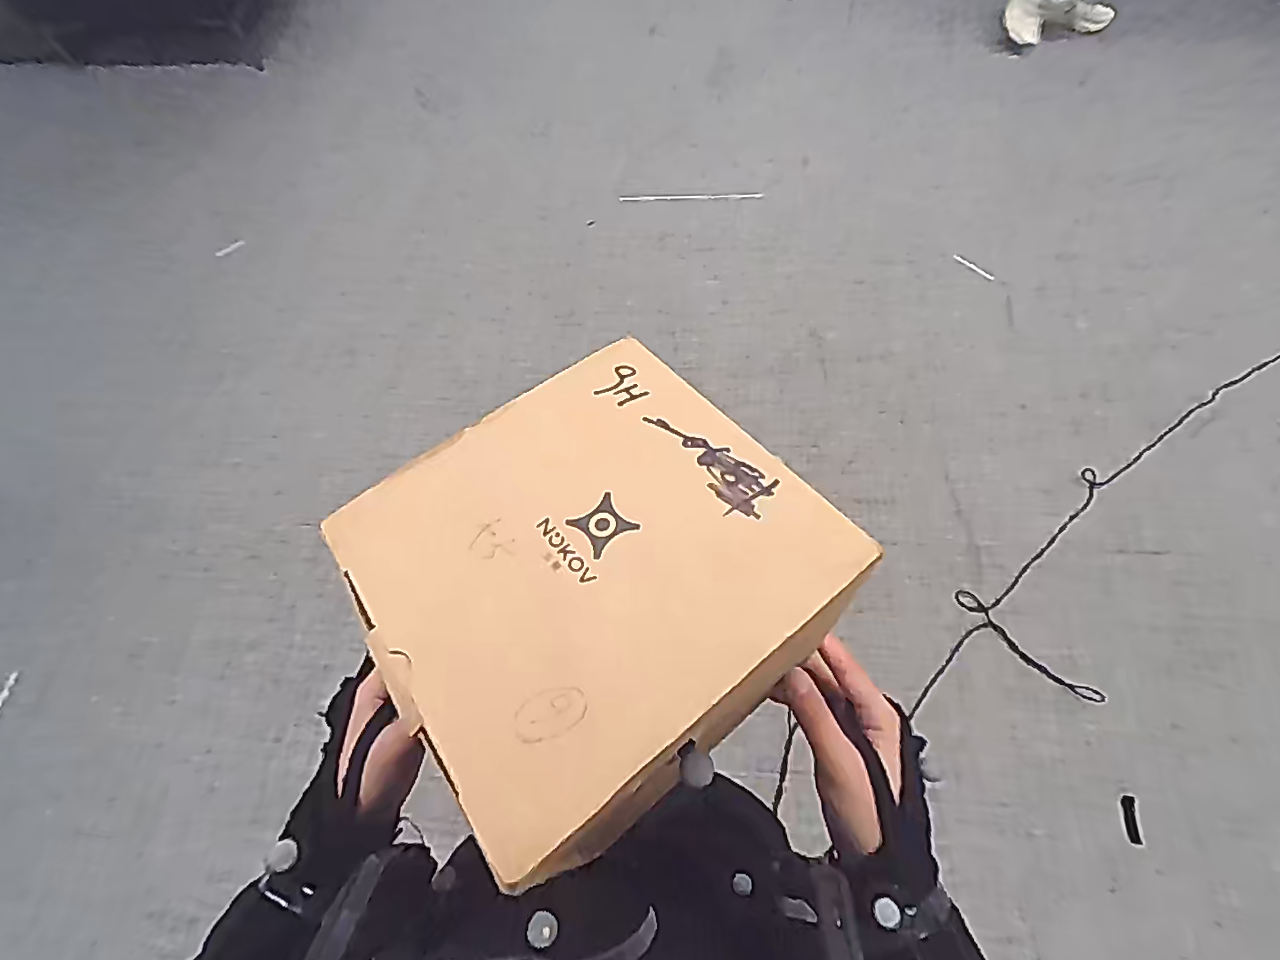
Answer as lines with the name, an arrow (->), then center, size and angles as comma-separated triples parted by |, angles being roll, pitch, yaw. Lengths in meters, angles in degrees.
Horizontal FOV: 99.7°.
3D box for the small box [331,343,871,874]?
small box -> -0.016, 0.068, 0.291 | 0.179, 0.176, 0.168 | -35, 60, -16
